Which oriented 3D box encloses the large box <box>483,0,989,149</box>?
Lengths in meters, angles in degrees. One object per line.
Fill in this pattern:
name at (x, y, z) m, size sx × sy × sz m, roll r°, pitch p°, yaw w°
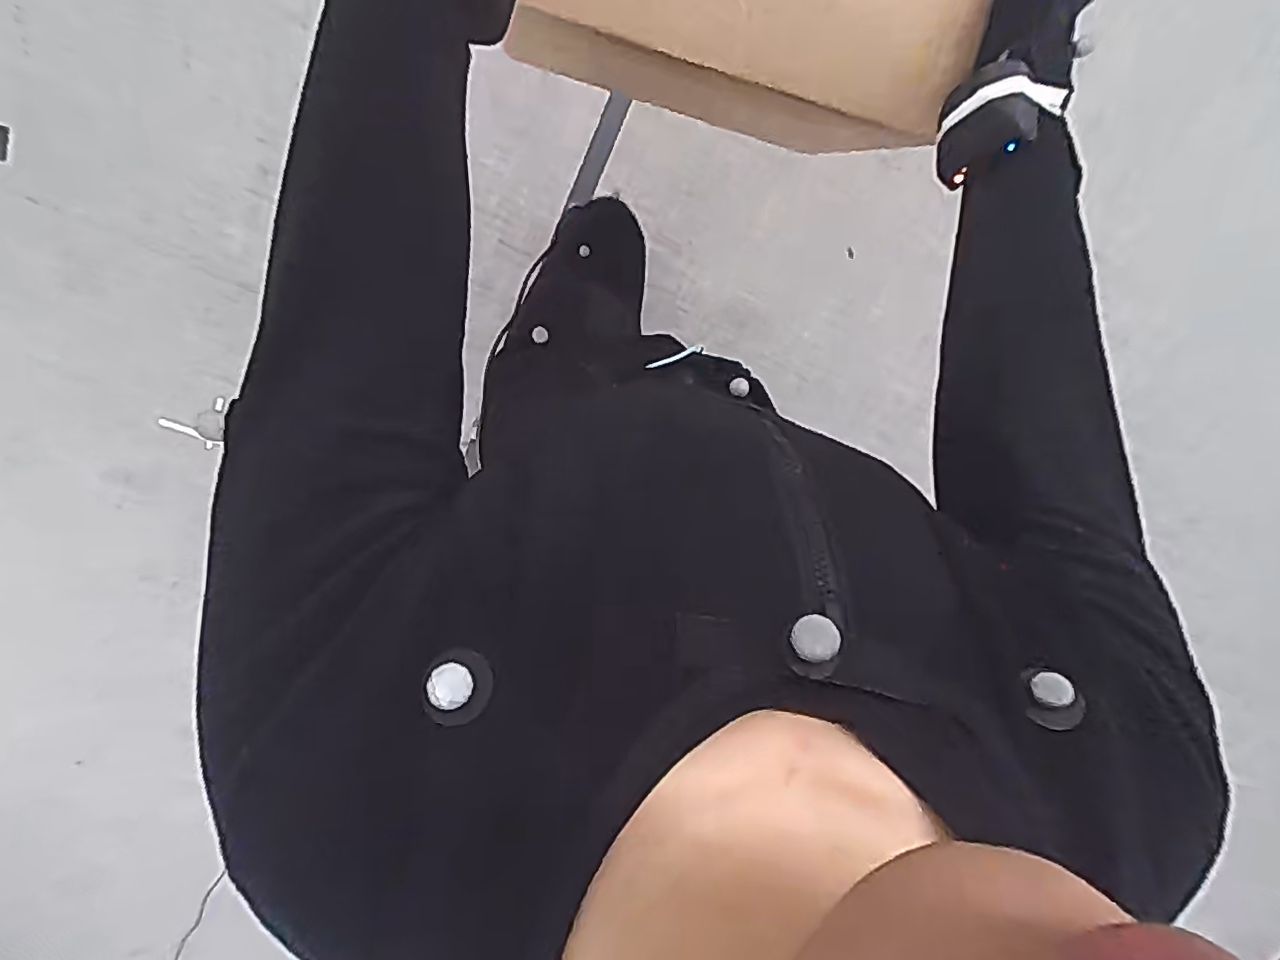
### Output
large box at (0.084, -0.534, 0.497) m, size 0.408 × 0.320 × 0.320 m, roll 9°, pitch 119°, yaw -12°
